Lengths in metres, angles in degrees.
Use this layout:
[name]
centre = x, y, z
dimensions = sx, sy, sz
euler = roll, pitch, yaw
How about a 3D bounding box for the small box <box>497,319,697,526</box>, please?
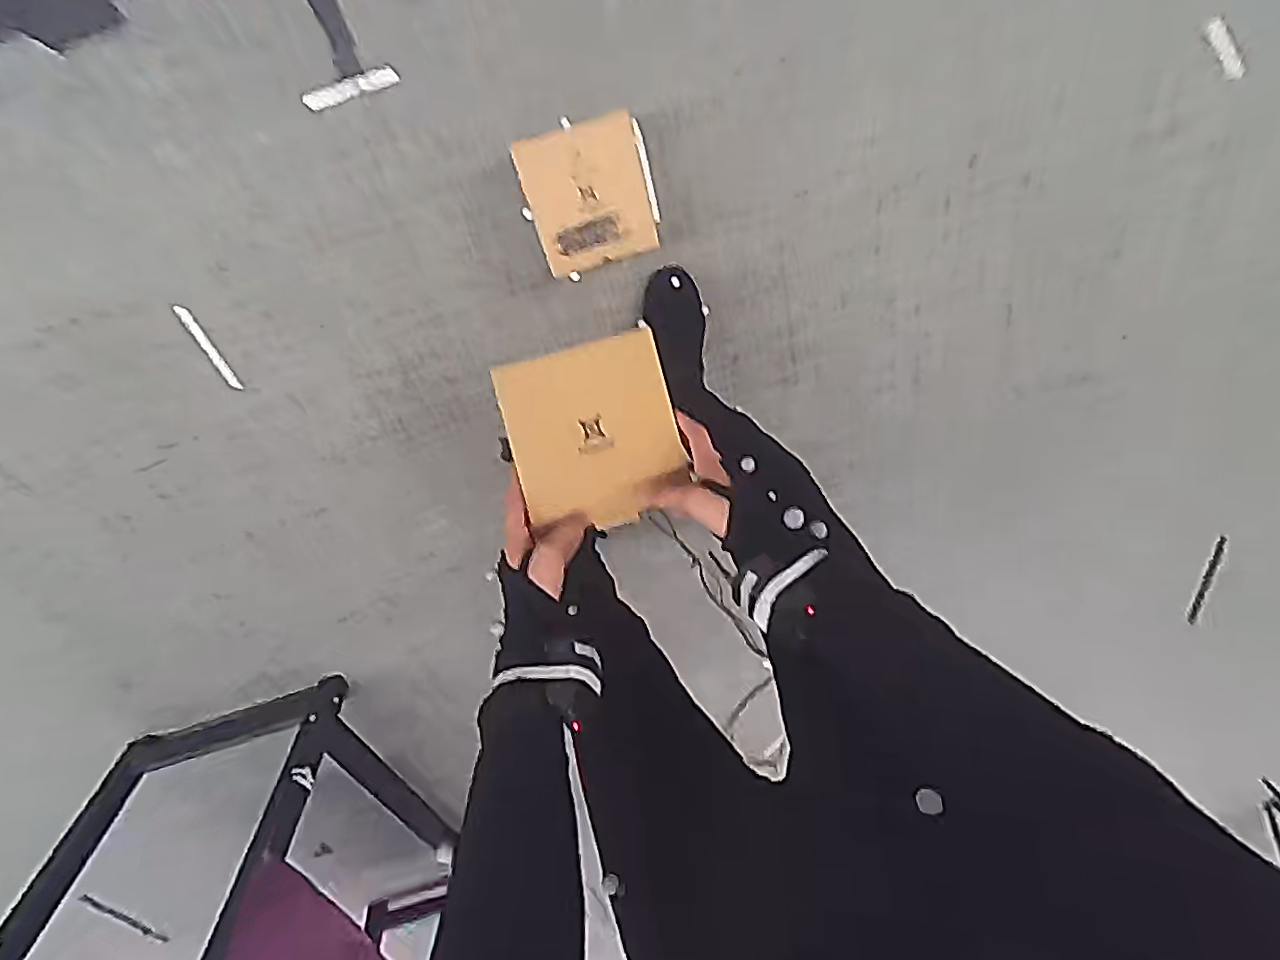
[small box]
centre = -0.044, -0.057, 0.611
dimensions = 0.168, 0.176, 0.179
euler = -15, 91, 0
